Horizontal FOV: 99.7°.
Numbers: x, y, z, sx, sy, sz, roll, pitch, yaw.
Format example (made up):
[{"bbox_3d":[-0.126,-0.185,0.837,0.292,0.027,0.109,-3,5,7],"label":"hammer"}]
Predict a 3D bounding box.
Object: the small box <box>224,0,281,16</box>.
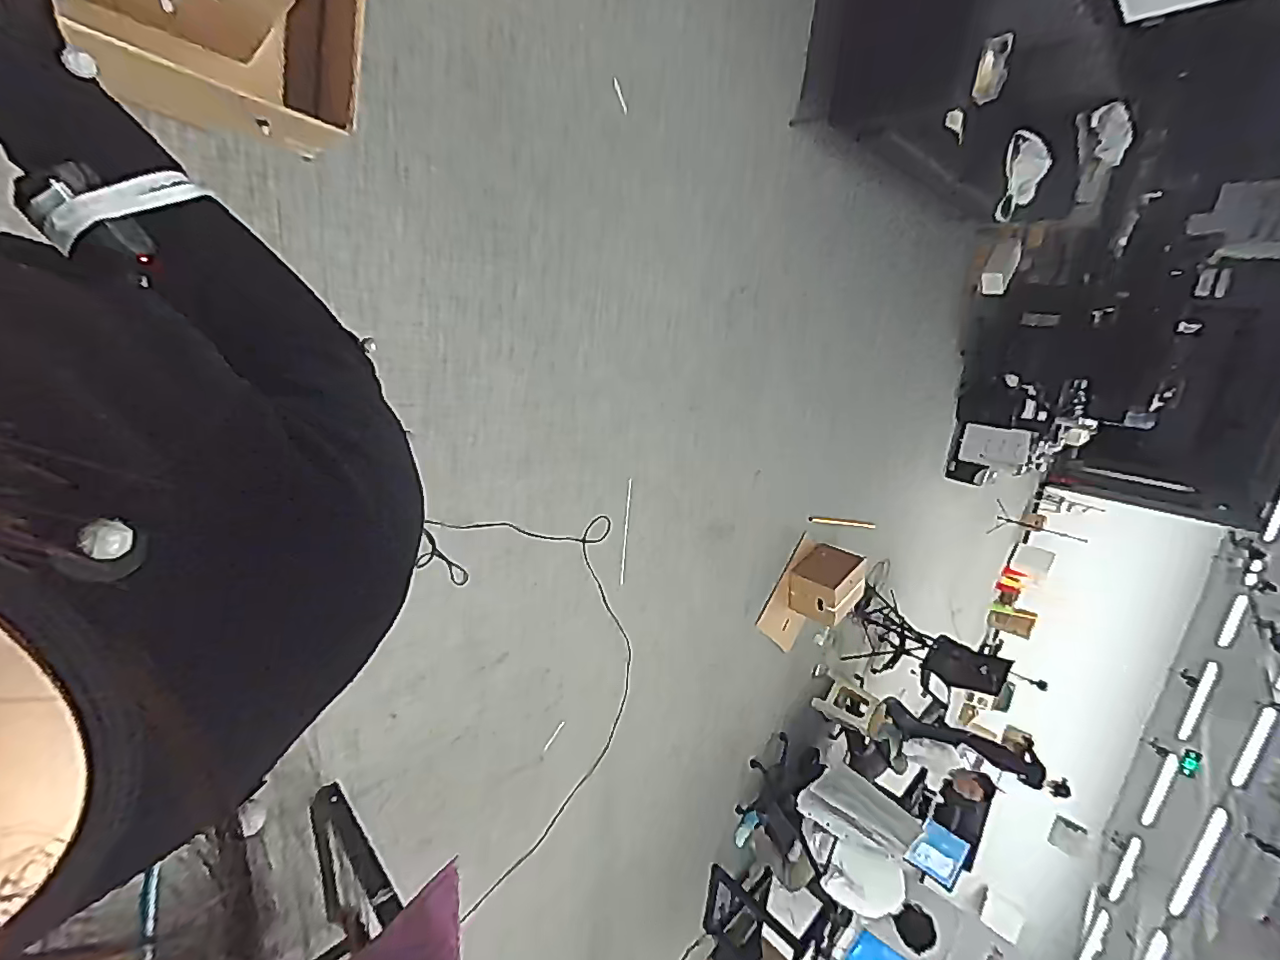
[{"bbox_3d":[-0.429,-0.595,0.512,0.168,0.176,0.179,-6,110,-45],"label":"small box"}]
